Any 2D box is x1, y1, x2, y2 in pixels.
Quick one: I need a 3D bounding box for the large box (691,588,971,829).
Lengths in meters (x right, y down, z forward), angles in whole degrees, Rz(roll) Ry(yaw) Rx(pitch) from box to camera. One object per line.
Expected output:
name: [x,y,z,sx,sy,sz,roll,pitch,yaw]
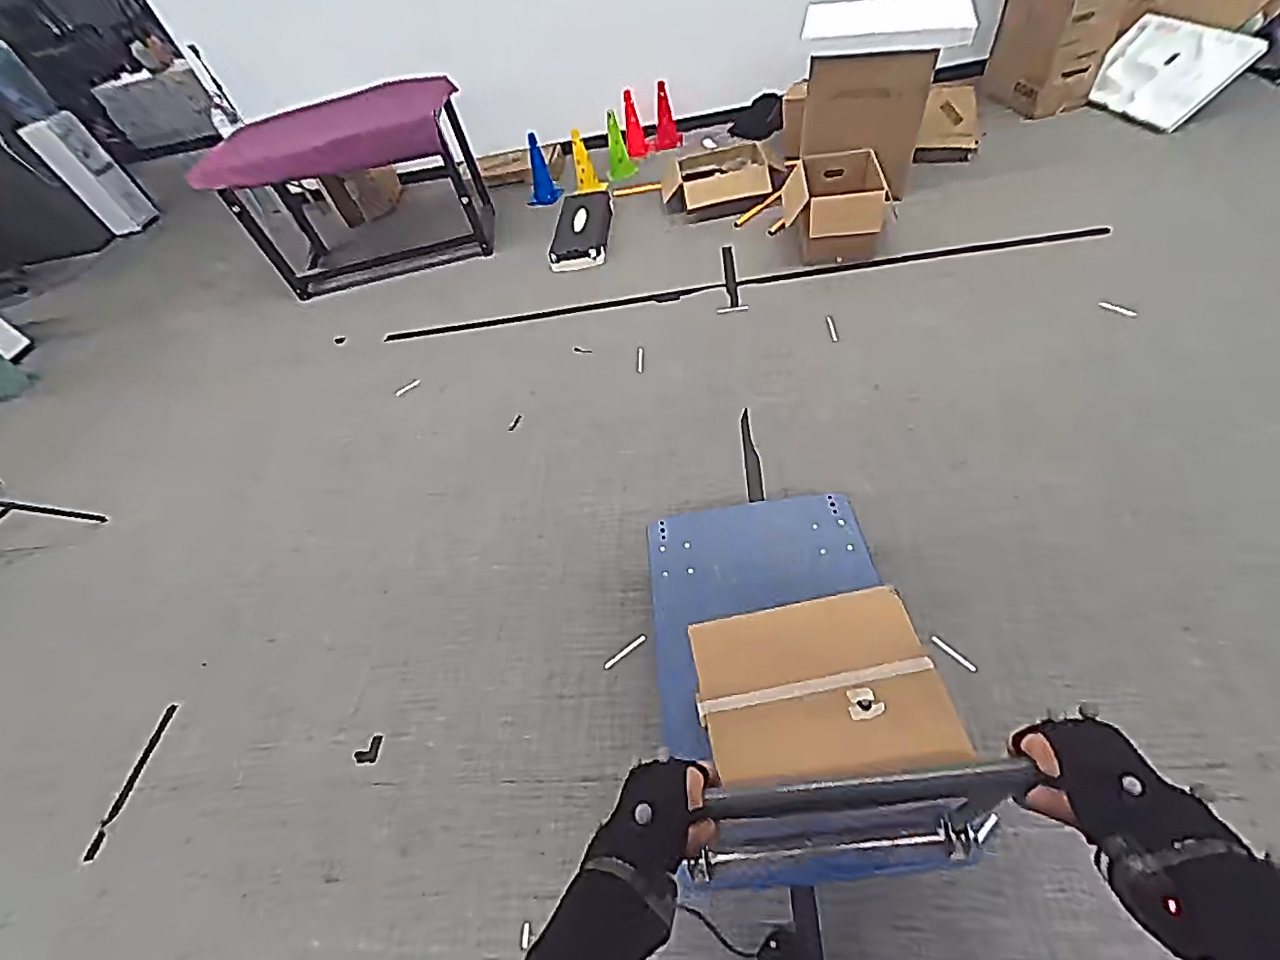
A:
large box: [0.336,0.459,1.069,0.408,0.320,0.320,-12,51,2]
